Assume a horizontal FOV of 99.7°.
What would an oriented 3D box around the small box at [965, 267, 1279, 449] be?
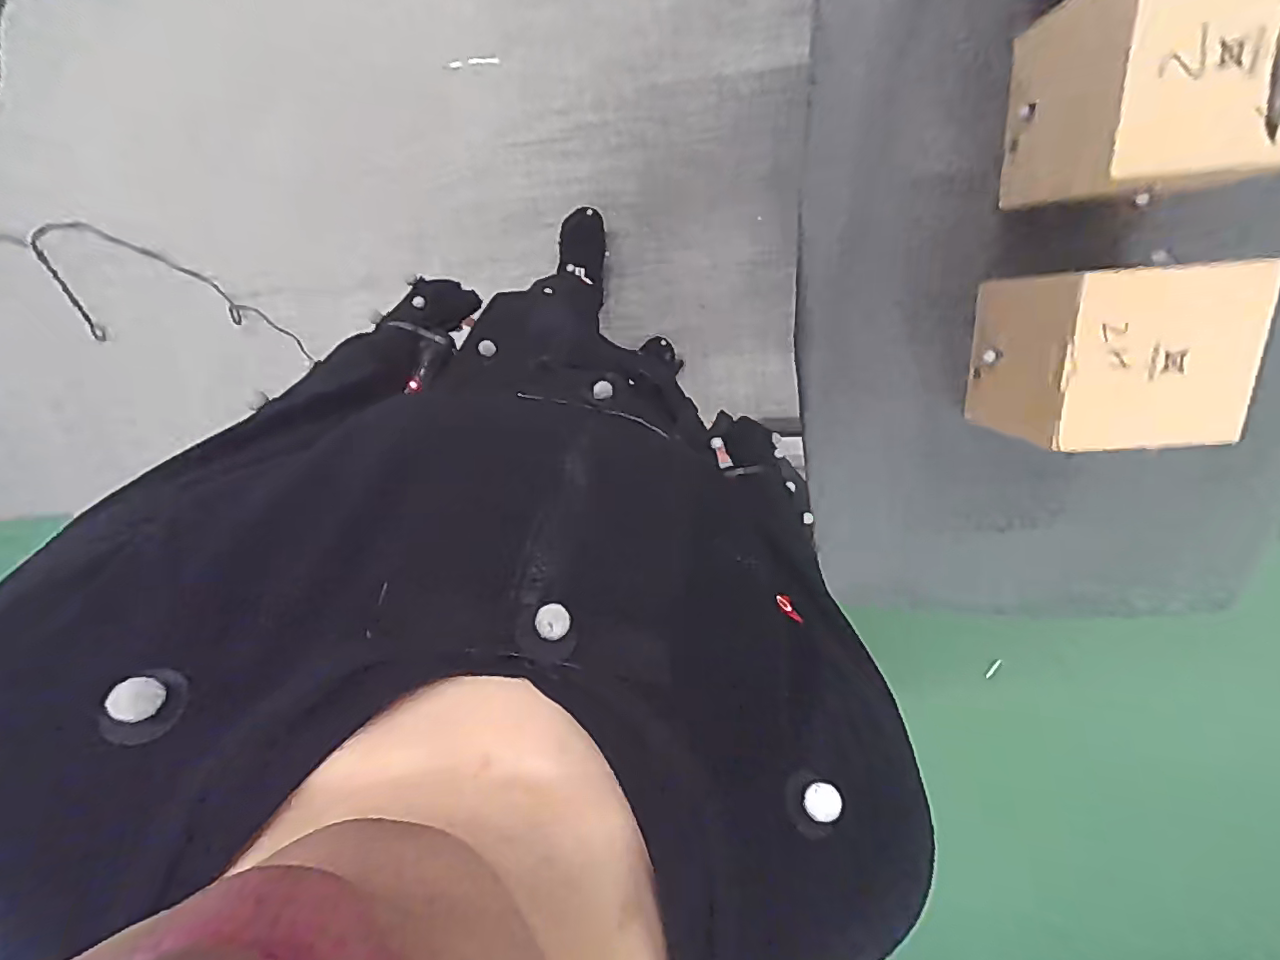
[{"bbox_3d":[0.491,-0.135,0.581,0.179,0.176,0.168,-2,107,3],"label":"small box"}]
